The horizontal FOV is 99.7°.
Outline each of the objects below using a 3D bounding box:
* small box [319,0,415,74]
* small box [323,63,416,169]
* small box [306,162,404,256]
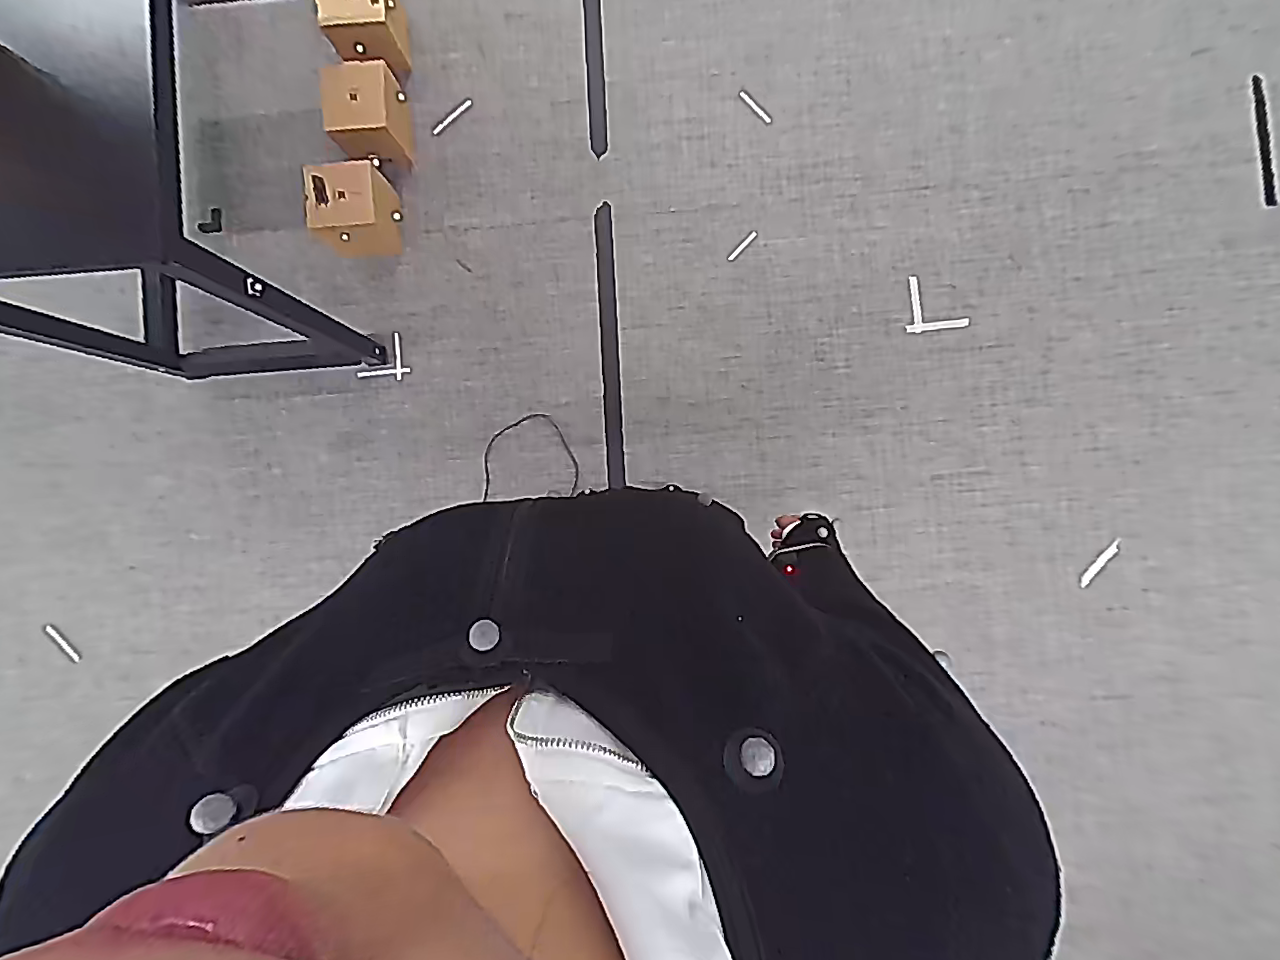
[{"bbox_3d":[-0.738,-1.240,1.468,0.179,0.176,0.168,-5,89,2],"label":"small box"},{"bbox_3d":[-0.726,-0.978,1.465,0.168,0.176,0.179,-4,89,2],"label":"small box"},{"bbox_3d":[-0.763,-0.722,1.459,0.179,0.176,0.168,-4,89,0],"label":"small box"}]
